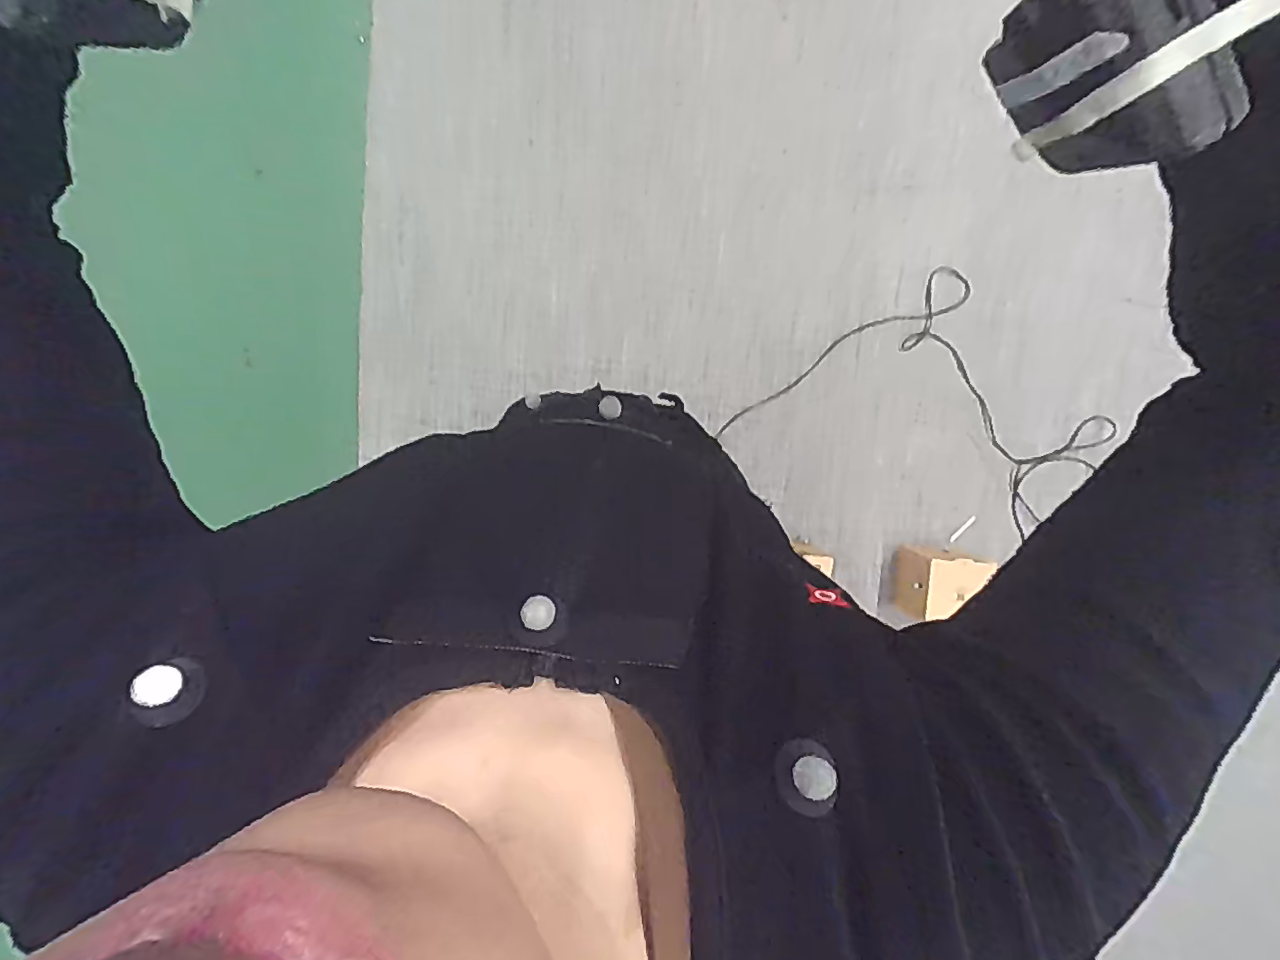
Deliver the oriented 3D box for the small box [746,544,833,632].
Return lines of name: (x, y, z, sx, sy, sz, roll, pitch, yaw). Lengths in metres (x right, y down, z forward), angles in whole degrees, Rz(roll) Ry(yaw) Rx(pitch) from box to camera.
small box: (0.381, 0.272, 1.403, 0.168, 0.176, 0.179, 8, 94, 0)

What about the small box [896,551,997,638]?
small box: (0.783, 0.291, 1.400, 0.168, 0.176, 0.179, 3, 94, 0)
